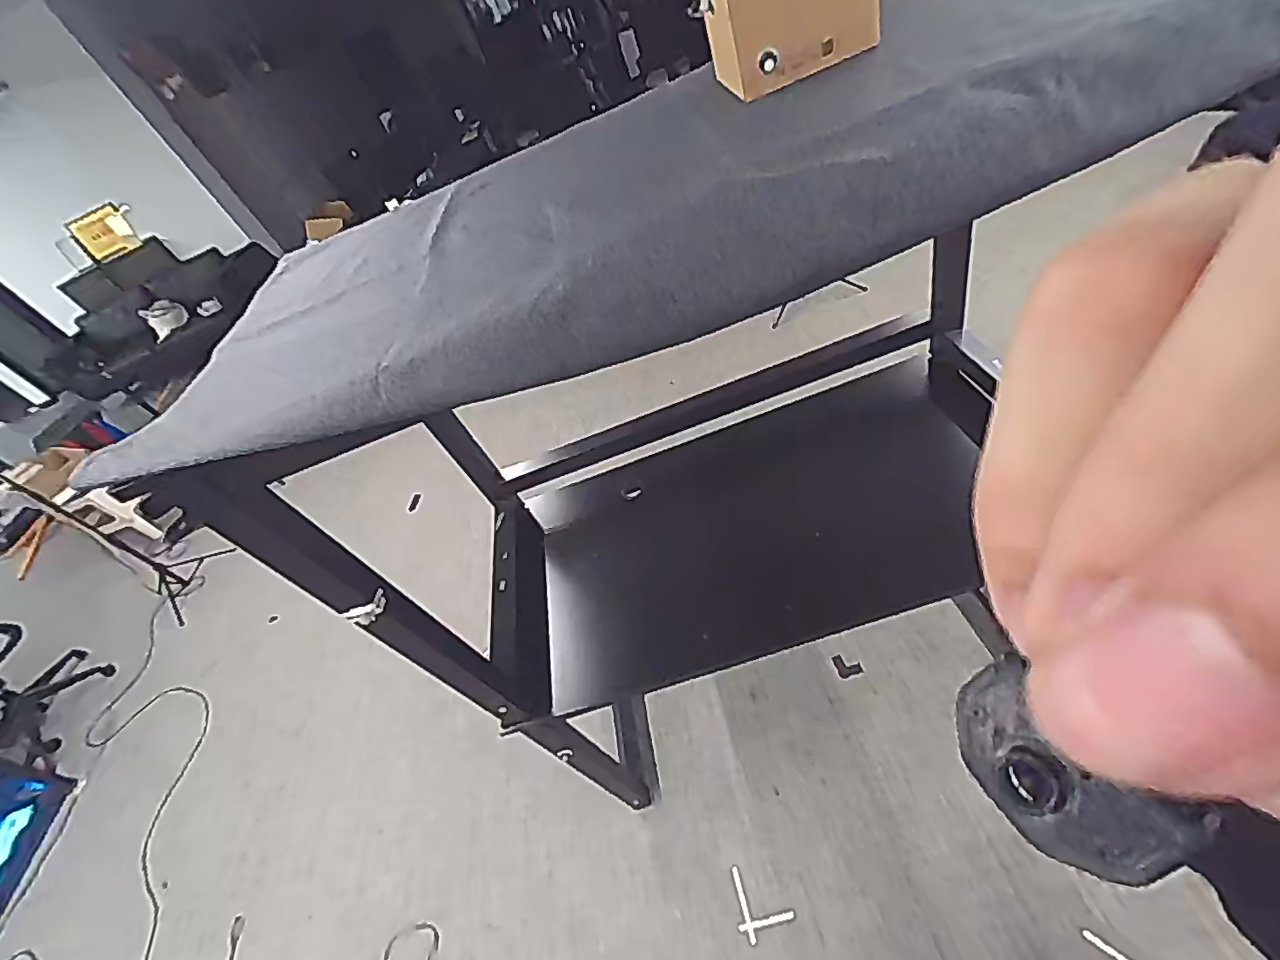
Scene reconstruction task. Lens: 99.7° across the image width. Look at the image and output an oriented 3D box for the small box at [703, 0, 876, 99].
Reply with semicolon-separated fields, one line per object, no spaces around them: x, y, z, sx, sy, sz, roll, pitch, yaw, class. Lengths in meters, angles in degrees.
0.173;-0.596;0.655;0.168;0.176;0.179;-18;43;9;small box
